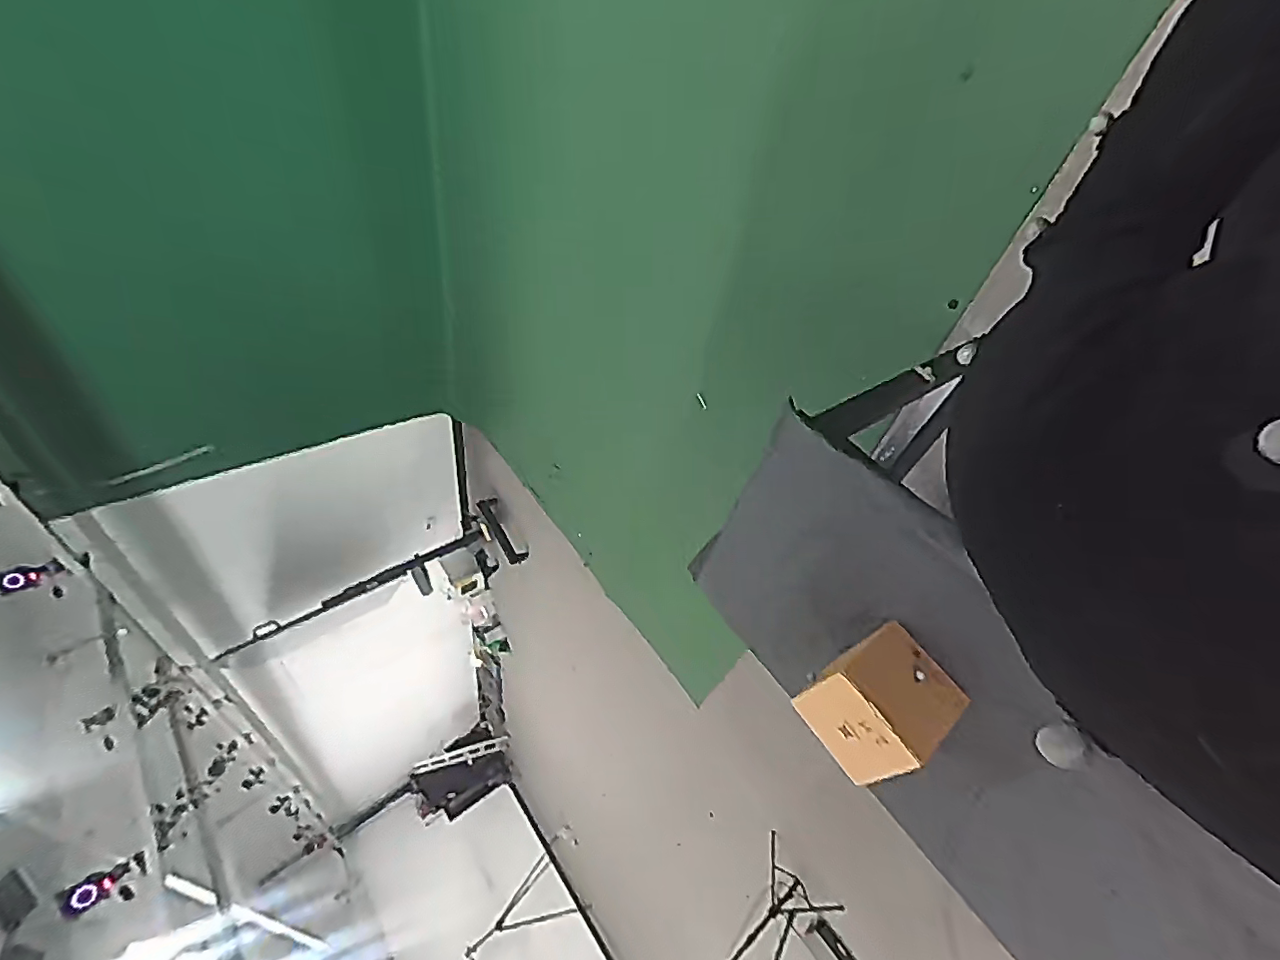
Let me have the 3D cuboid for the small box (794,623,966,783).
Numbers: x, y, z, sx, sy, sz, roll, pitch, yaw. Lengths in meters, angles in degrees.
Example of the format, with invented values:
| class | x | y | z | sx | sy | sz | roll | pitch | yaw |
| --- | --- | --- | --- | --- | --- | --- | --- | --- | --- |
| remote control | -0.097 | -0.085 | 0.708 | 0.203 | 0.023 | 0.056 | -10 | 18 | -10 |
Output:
| class | x | y | z | sx | sy | sz | roll | pitch | yaw |
| --- | --- | --- | --- | --- | --- | --- | --- | --- | --- |
| small box | 0.406 | 0.376 | 0.921 | 0.168 | 0.176 | 0.179 | 51 | 144 | 22 |
